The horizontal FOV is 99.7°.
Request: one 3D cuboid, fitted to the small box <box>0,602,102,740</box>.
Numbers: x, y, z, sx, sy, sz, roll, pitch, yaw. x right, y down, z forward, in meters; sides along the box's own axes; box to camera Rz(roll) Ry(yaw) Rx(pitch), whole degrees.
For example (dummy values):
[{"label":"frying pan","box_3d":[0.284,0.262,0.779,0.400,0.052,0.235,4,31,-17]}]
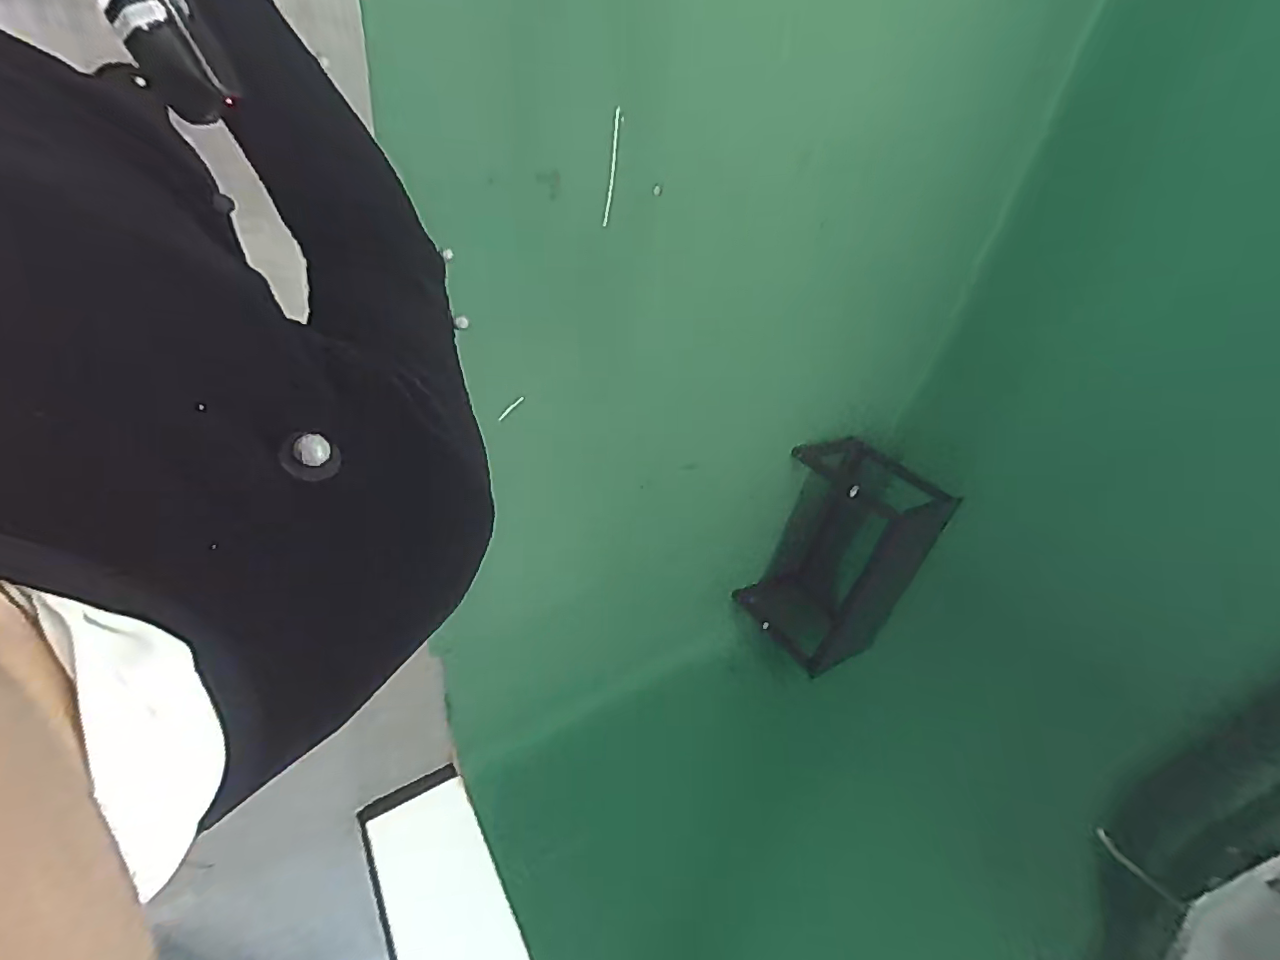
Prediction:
[{"label":"small box","box_3d":[-1.153,0.351,1.018,0.168,0.176,0.179,-11,131,-34]}]
